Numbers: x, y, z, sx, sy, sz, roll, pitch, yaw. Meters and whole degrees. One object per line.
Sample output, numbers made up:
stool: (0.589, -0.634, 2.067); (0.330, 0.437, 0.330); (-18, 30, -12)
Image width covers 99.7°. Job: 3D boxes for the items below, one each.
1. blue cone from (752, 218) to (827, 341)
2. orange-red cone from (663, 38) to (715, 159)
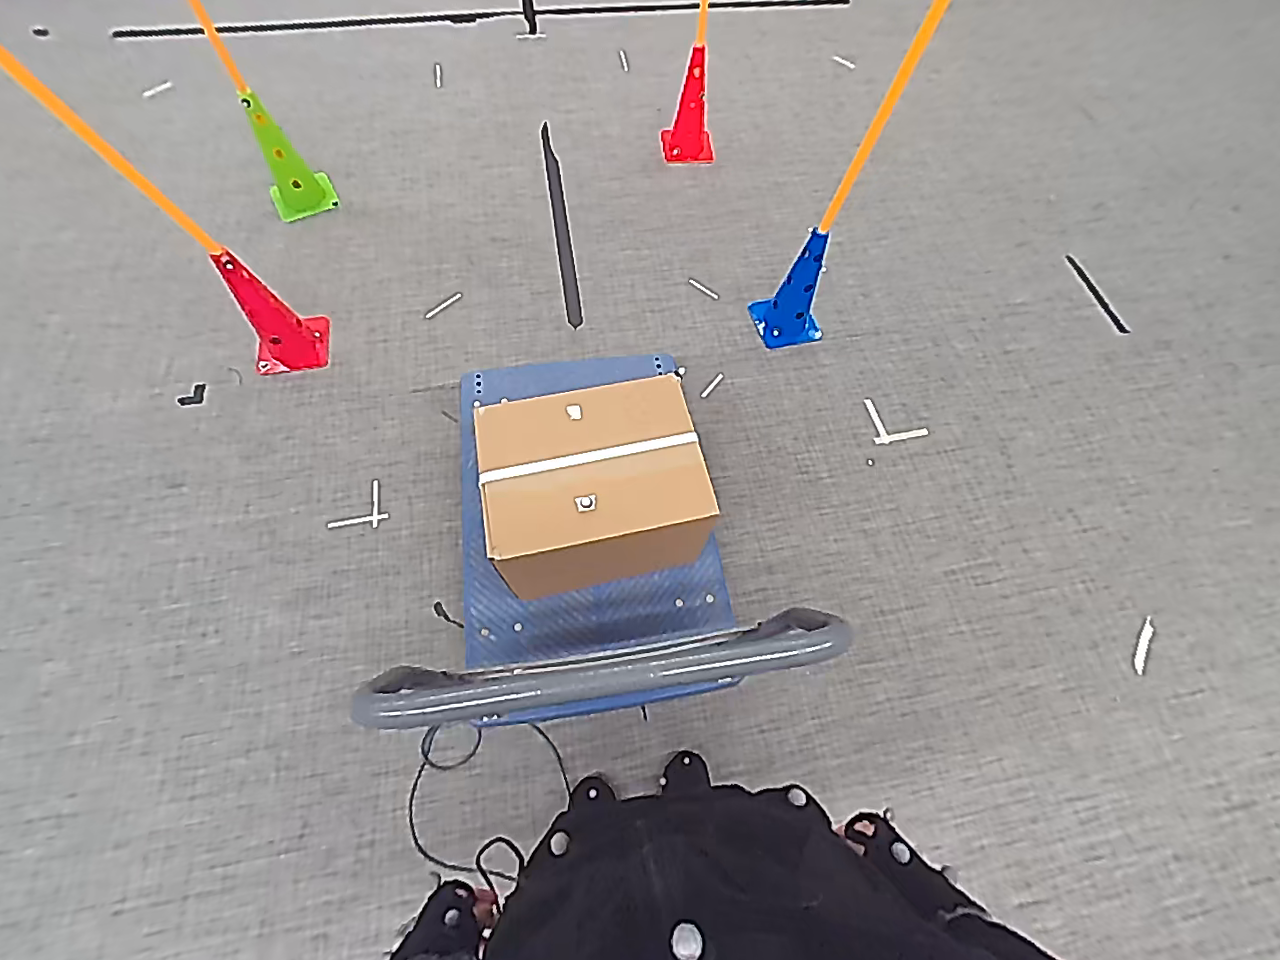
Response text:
blue cone: (0.488, -0.611, 1.636); (0.193, 0.380, 0.192); (-12, 65, -9)
orange-red cone: (0.204, -1.406, 1.979); (0.199, 0.360, 0.198); (-2, 66, -5)
